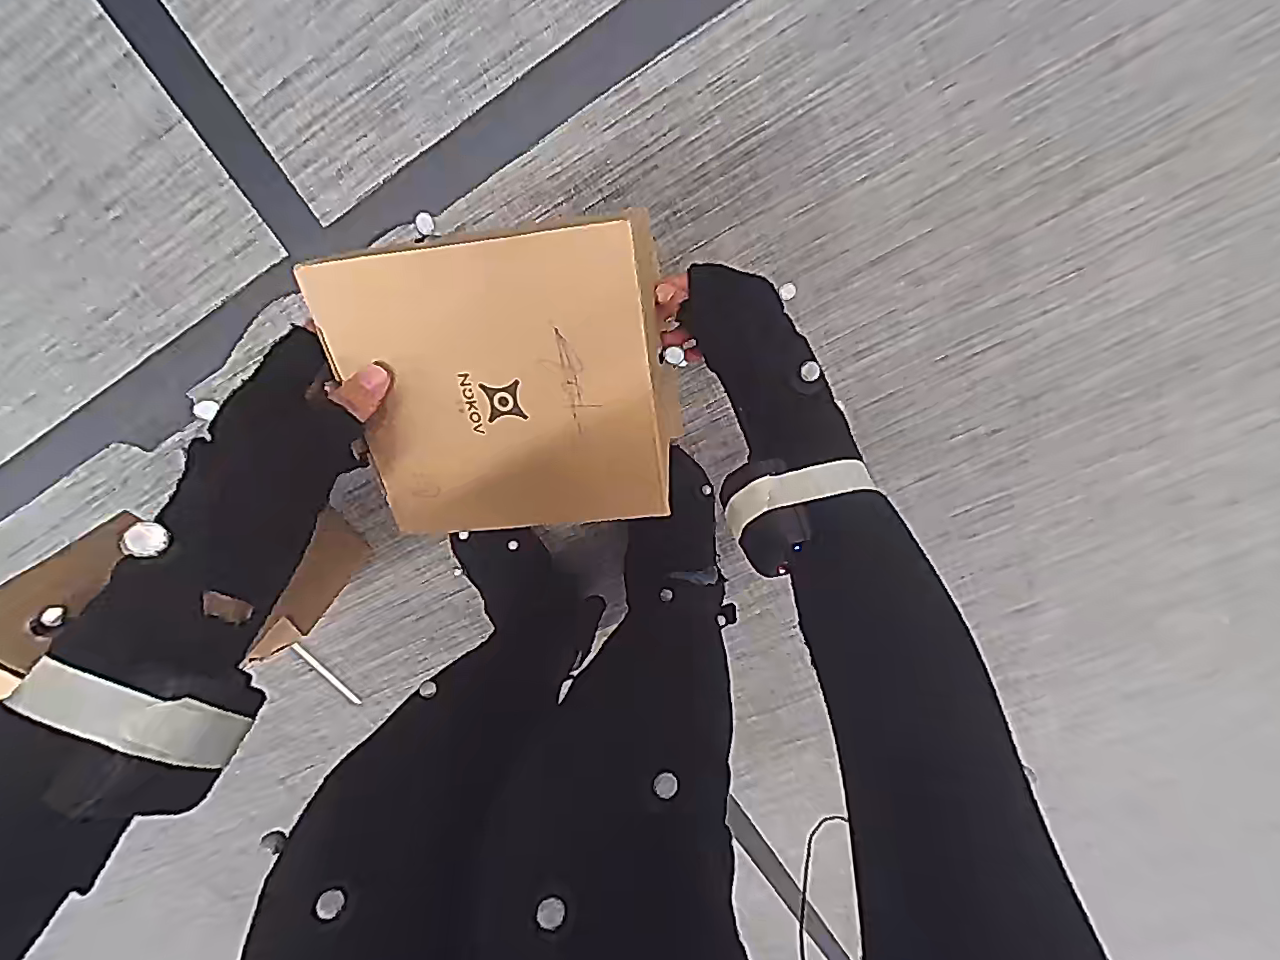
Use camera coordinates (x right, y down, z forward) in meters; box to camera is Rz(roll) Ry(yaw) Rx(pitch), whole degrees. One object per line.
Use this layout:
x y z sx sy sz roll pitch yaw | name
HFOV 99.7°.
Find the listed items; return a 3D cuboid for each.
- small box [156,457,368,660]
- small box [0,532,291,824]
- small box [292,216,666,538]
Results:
-0.476 0.103 0.657 0.168 0.176 0.179 -27 114 14 | small box
-0.487 0.173 0.508 0.168 0.176 0.179 -39 113 20 | small box
-0.078 -0.078 0.370 0.179 0.176 0.168 -5 118 6 | small box
